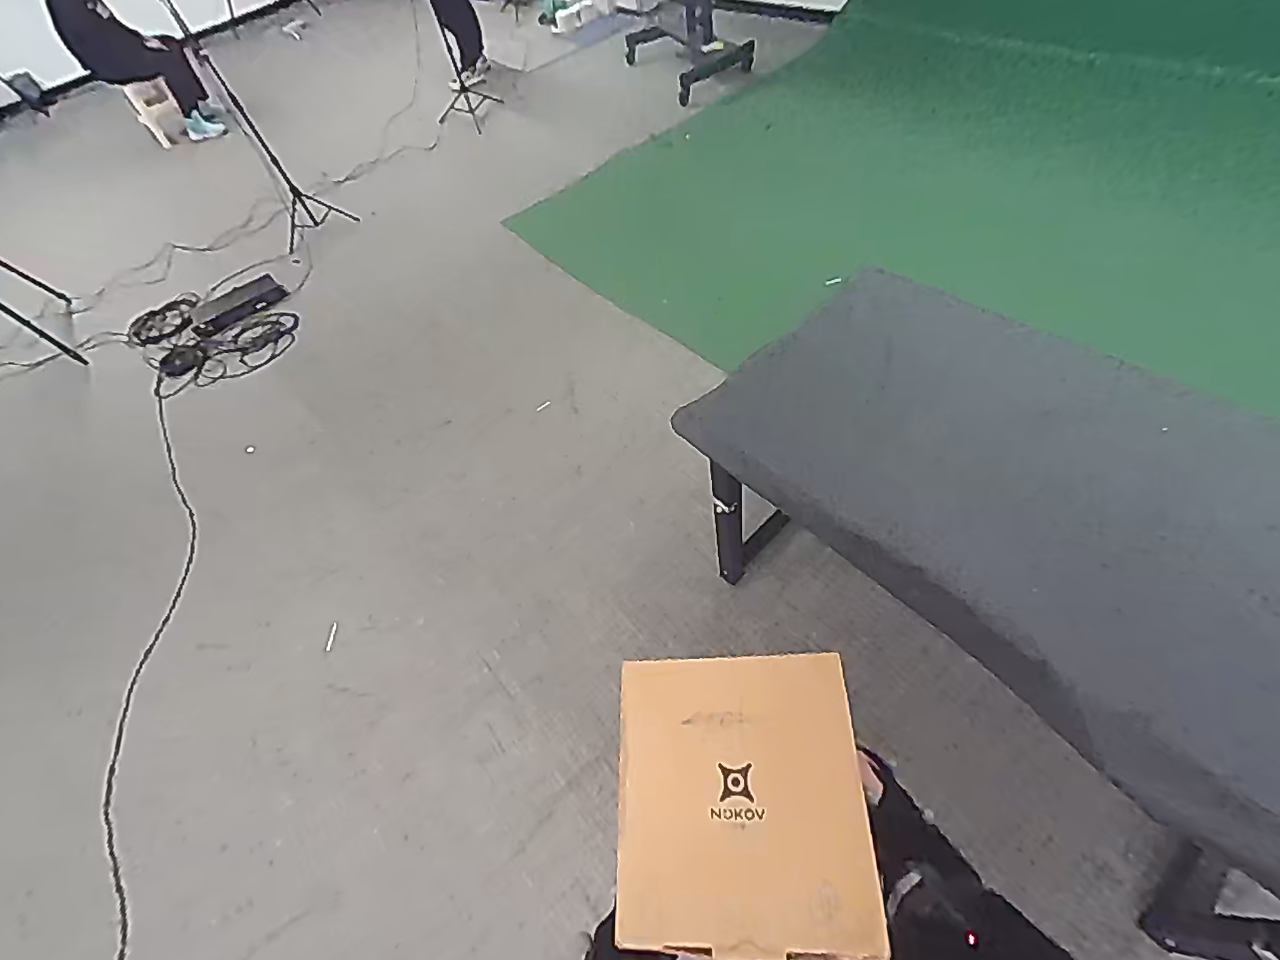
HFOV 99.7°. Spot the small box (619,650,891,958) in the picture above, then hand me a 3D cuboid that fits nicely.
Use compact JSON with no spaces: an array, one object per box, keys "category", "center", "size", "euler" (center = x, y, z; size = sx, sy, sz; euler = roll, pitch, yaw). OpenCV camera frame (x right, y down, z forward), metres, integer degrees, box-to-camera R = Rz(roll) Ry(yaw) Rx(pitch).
[{"category":"small box","center":[0.081,0.246,0.433],"size":[0.168,0.176,0.179],"euler":[-6,58,8]}]
